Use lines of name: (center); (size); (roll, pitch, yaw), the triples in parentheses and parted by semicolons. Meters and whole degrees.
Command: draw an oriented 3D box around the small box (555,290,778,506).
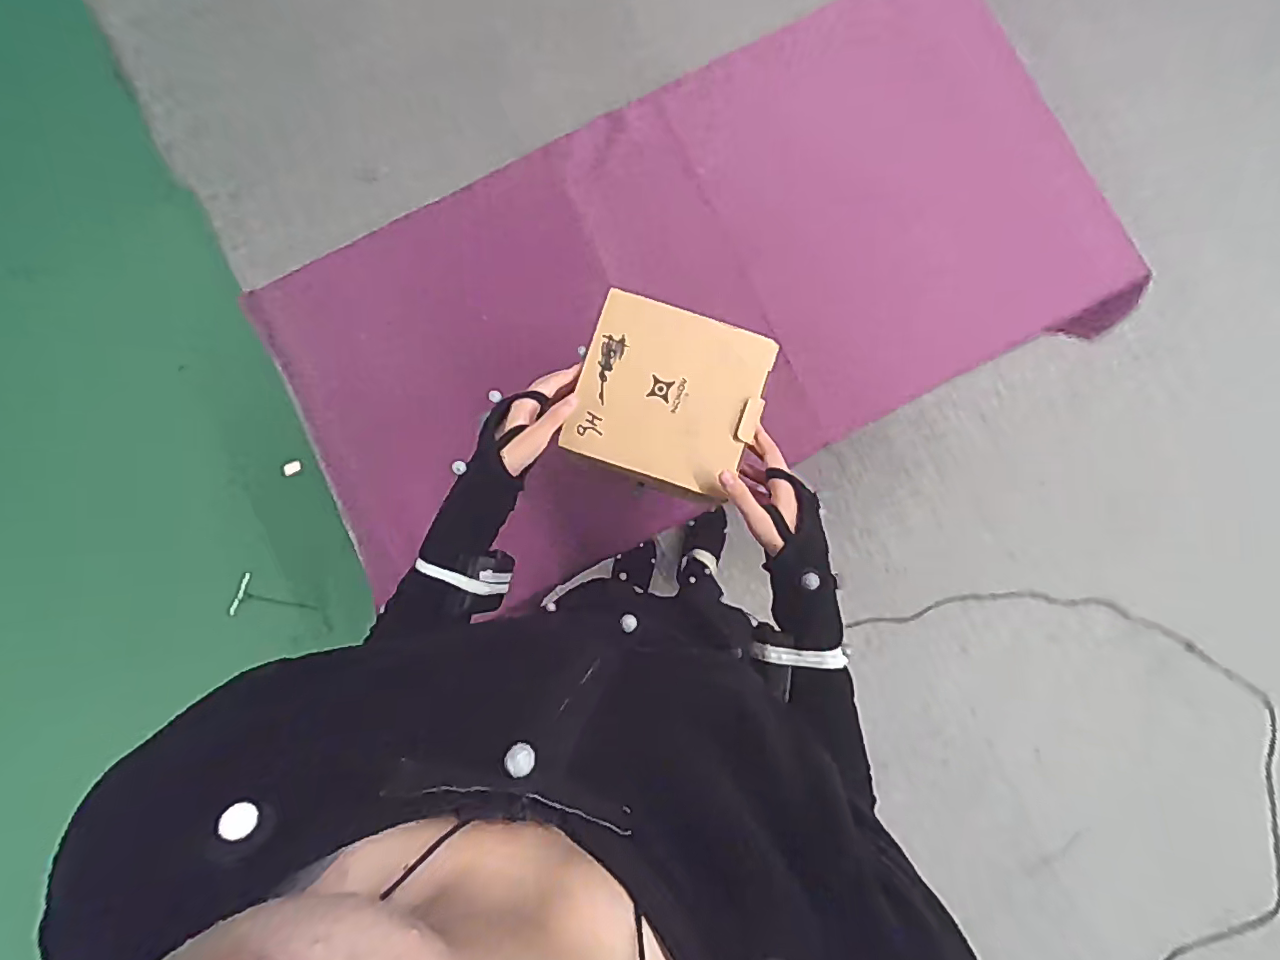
small box: (0.026, -0.079, 0.604); (0.179, 0.176, 0.168); (21, 87, 1)
